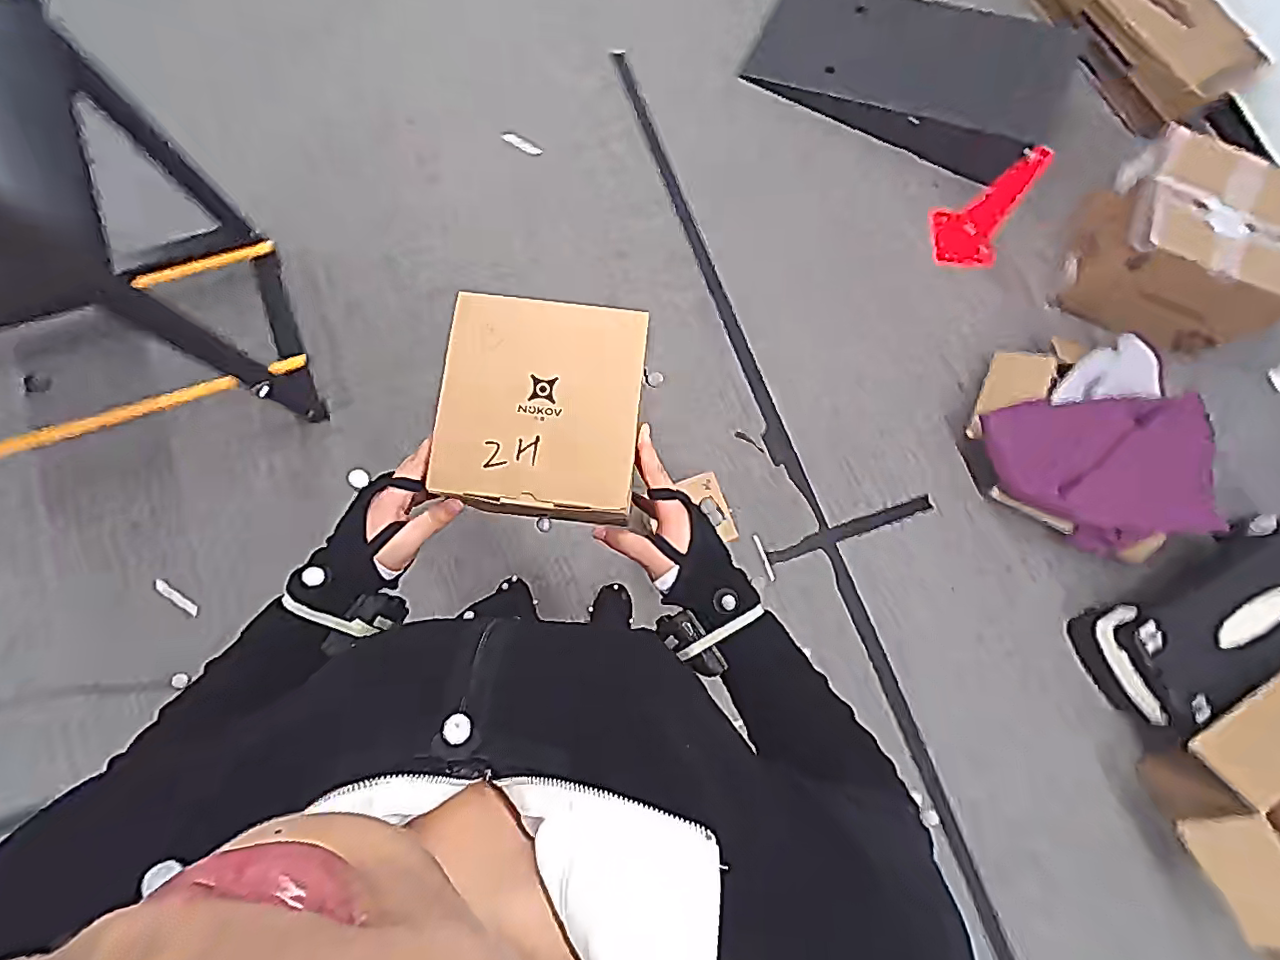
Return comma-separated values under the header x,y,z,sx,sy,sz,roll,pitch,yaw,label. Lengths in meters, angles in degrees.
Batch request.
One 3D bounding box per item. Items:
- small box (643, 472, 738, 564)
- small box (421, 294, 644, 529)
x,y,z,sx,sy,sz,roll,pitch,yaw,label
0.112,0.098,1.300,0.179,0.176,0.168,-19,80,-6,small box
-0.087,-0.053,0.524,0.168,0.176,0.179,5,80,1,small box
